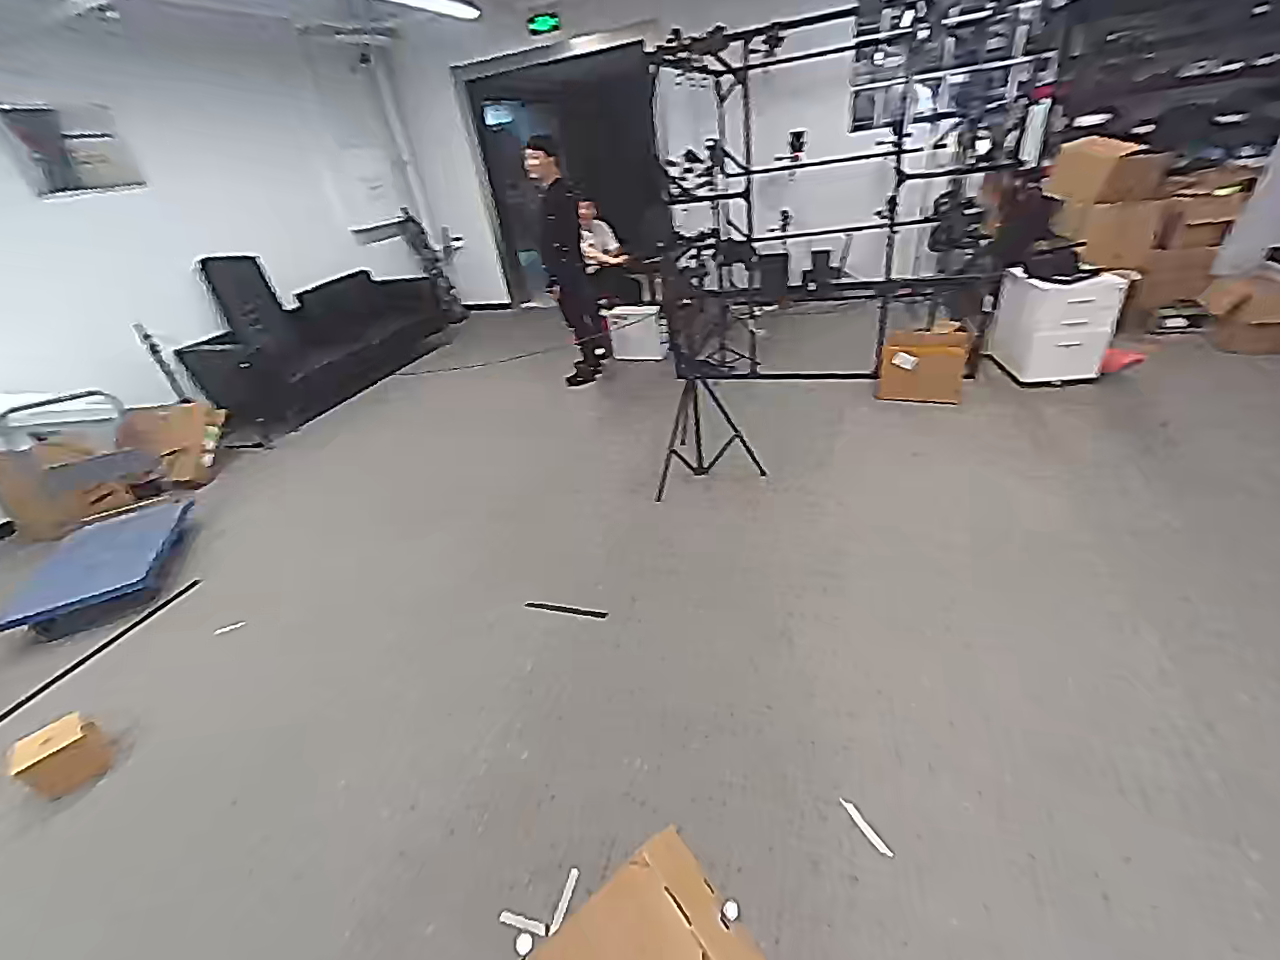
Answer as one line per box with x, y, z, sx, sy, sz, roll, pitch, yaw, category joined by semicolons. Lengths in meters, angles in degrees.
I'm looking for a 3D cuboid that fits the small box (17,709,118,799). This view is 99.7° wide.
-1.926;0.927;1.825;0.168;0.176;0.179;21;42;41;small box

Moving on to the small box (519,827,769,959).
0.001;0.423;0.439;0.179;0.176;0.168;-40;63;-9;small box
